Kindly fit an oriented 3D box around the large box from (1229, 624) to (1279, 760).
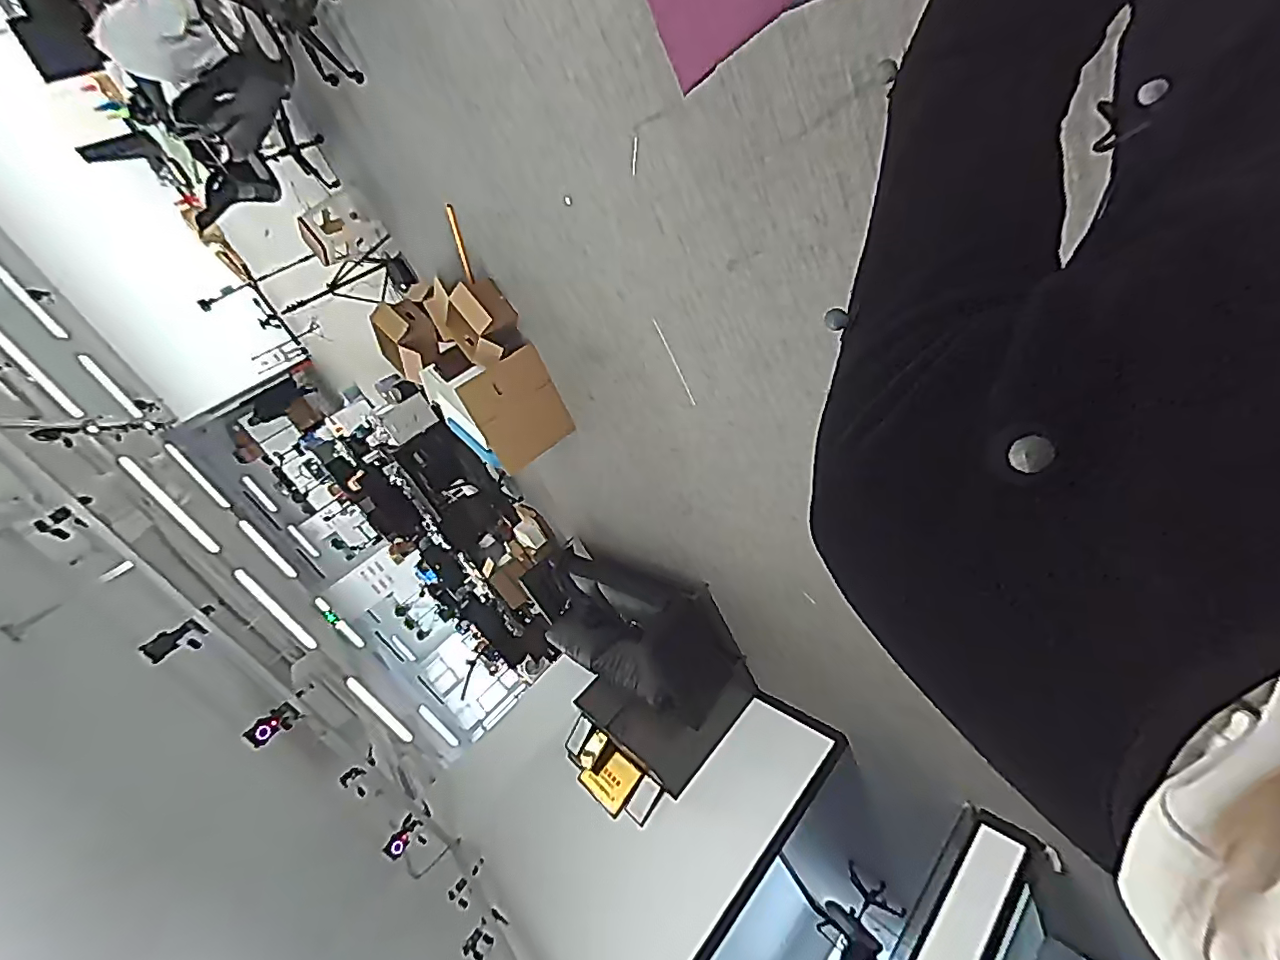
[{"bbox_3d":[1.767,0.537,1.267,0.320,0.320,0.408,46,153,5],"label":"large box"}]
